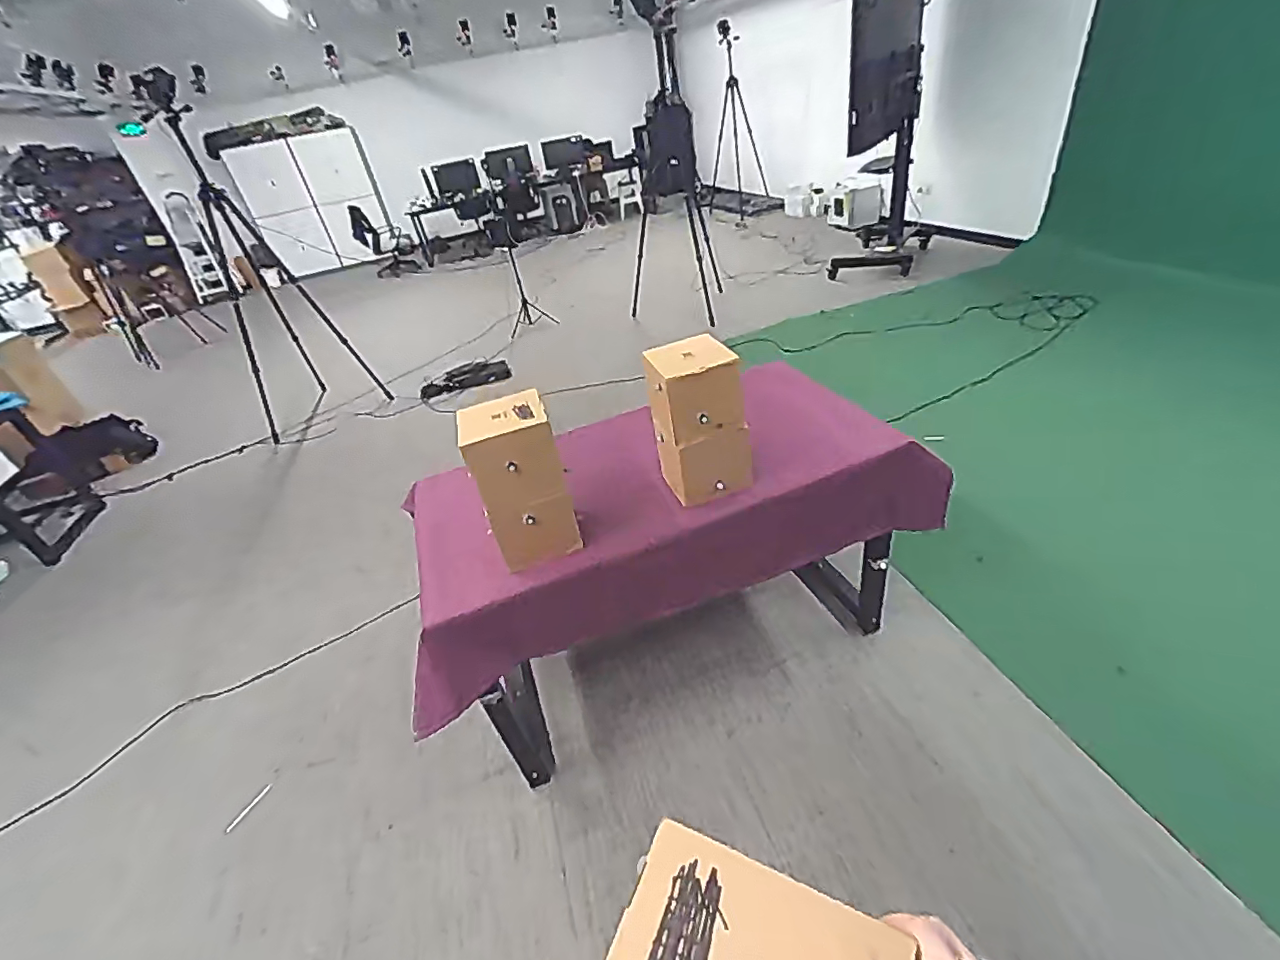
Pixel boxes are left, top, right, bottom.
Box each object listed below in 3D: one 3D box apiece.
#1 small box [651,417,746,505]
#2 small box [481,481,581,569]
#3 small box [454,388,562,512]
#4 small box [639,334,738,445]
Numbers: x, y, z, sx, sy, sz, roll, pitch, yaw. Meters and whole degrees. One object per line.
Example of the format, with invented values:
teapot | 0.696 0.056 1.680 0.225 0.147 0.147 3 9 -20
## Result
small box | 0.141 -0.067 1.296 0.179 0.176 0.168 -18 35 -10
small box | -0.248 0.072 1.213 0.179 0.176 0.168 -17 36 -9
small box | -0.270 -0.062 1.121 0.179 0.176 0.168 -19 36 -9
small box | 0.108 -0.203 1.211 0.168 0.176 0.179 -18 36 -9
